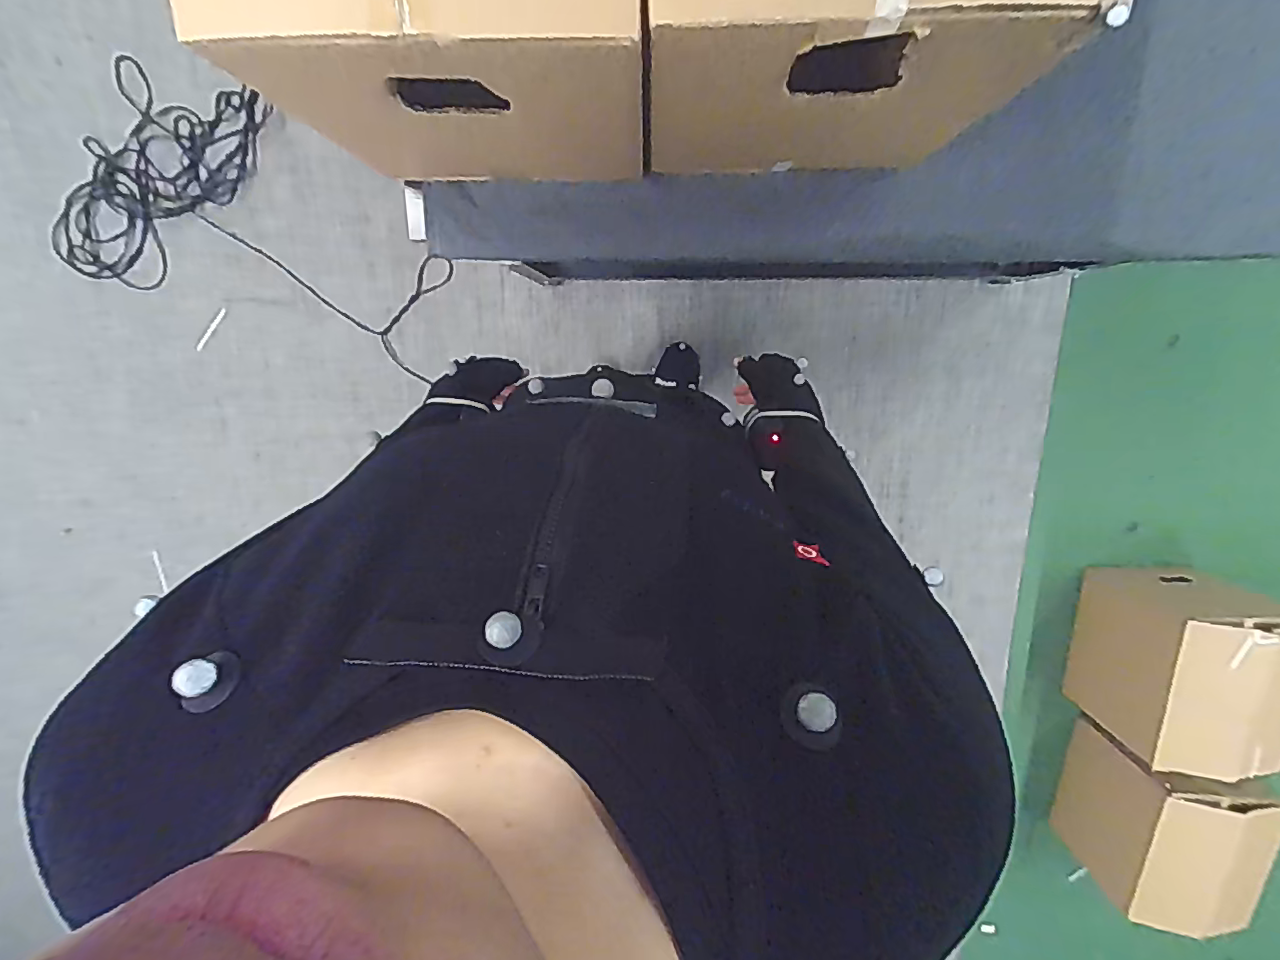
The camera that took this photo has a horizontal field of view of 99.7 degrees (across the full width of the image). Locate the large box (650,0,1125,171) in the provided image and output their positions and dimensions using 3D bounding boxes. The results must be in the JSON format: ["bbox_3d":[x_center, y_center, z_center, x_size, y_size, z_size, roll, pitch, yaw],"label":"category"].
[{"bbox_3d":[0.162,-0.530,0.456,0.320,0.320,0.408,-1,104,3],"label":"large box"}]
